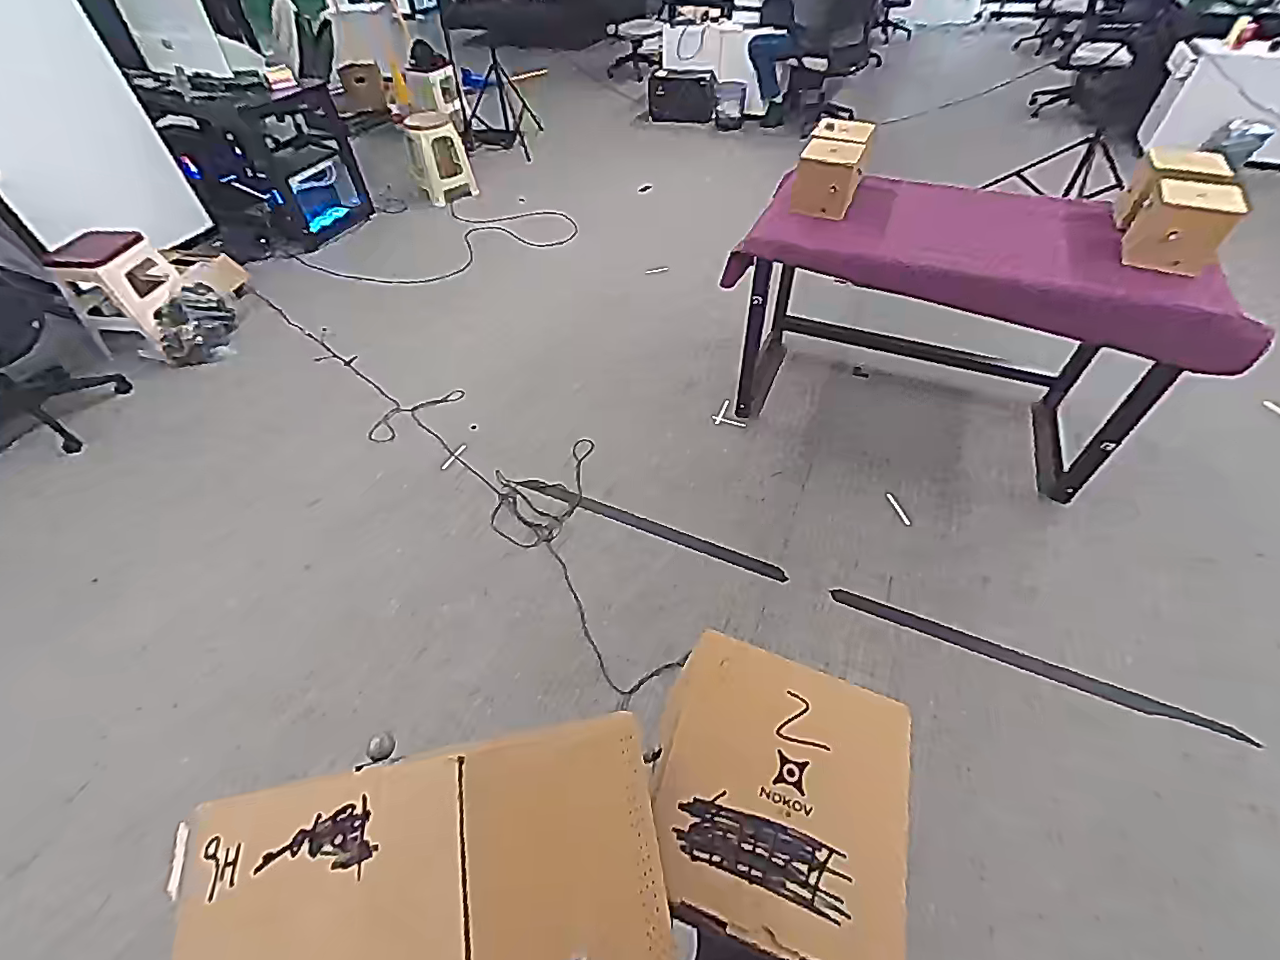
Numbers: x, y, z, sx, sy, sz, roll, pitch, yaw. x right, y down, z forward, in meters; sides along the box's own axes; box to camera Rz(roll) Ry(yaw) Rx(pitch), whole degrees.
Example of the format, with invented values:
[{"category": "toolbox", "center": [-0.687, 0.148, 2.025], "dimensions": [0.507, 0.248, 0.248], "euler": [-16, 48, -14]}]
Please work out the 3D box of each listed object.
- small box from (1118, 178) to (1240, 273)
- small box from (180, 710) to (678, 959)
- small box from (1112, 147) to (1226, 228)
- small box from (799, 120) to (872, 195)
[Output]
[{"category": "small box", "center": [1.406, -0.668, 1.424], "dimensions": [0.168, 0.176, 0.179], "euler": [21, 52, 21]}, {"category": "small box", "center": [-0.090, 0.232, 0.275], "dimensions": [0.168, 0.176, 0.179], "euler": [-20, 68, 17]}, {"category": "small box", "center": [1.498, -0.827, 1.550], "dimensions": [0.179, 0.176, 0.168], "euler": [19, 53, 17]}, {"category": "small box", "center": [0.651, -1.080, 1.813], "dimensions": [0.179, 0.176, 0.168], "euler": [20, 55, 17]}]
